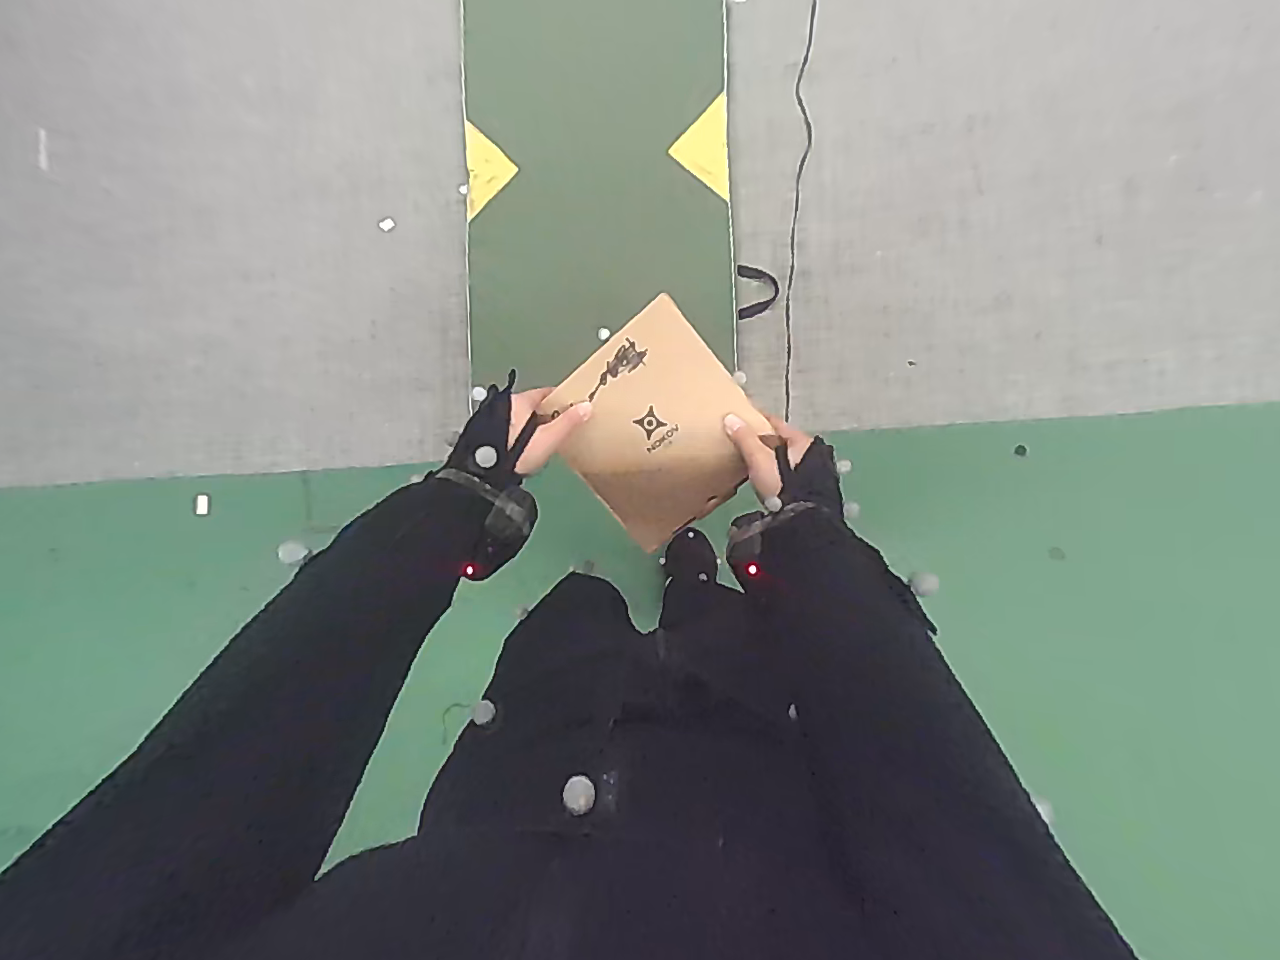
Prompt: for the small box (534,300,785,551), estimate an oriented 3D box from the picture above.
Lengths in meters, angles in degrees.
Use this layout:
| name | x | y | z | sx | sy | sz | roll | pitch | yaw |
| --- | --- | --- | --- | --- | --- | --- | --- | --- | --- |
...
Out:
| name | x | y | z | sx | sy | sz | roll | pitch | yaw |
| --- | --- | --- | --- | --- | --- | --- | --- | --- | --- |
| small box | 0.024 | -0.062 | 0.567 | 0.168 | 0.176 | 0.179 | -39 | 96 | 12 |
